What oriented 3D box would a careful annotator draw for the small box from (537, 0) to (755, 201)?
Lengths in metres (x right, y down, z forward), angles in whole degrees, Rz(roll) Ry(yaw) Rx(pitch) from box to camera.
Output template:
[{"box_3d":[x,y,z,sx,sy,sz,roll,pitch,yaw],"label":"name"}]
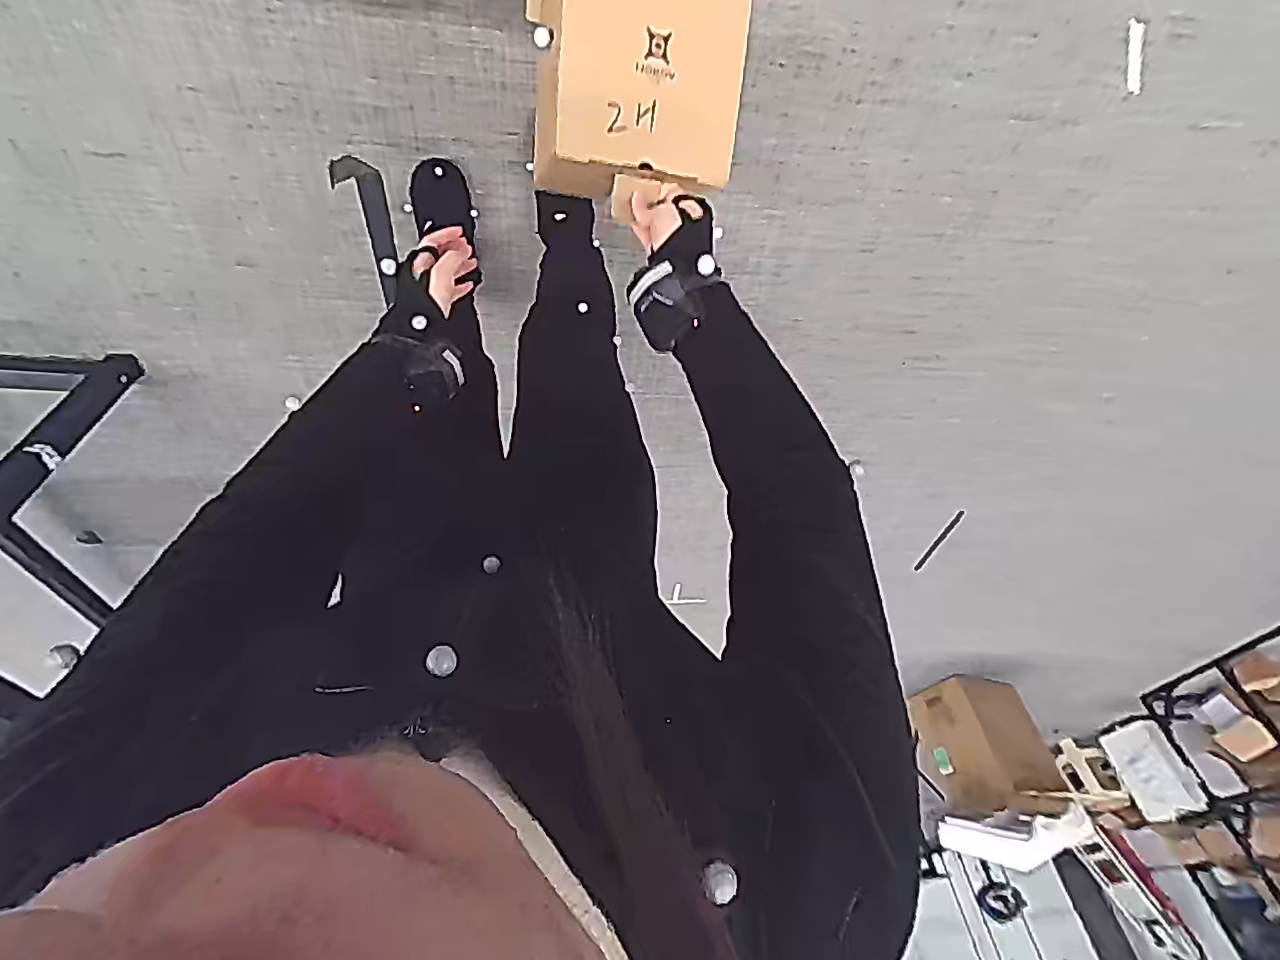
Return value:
[{"box_3d":[-0.008,-0.392,0.528,0.168,0.176,0.179,1,108,-17],"label":"small box"}]
